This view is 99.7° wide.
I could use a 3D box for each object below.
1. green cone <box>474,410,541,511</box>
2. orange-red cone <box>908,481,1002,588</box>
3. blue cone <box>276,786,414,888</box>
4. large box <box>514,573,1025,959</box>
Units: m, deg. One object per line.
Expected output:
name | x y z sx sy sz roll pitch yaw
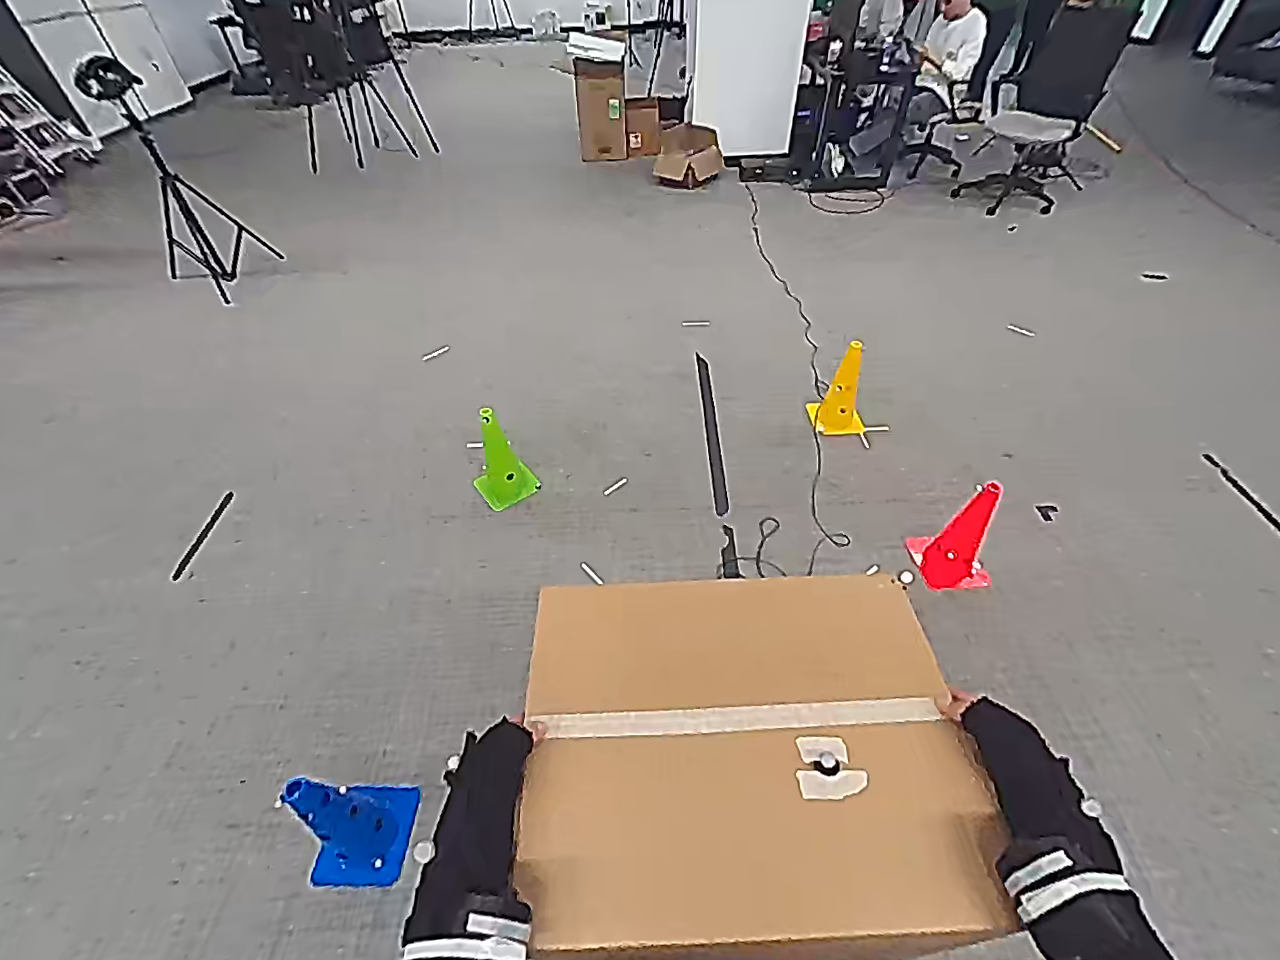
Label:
green cone | -0.508 -0.099 1.912 0.202 0.368 0.200 -32 52 -23
orange-red cone | 0.982 0.140 1.616 0.198 0.360 0.199 -3 44 -2
blue cone | -0.644 0.719 1.142 0.192 0.380 0.193 0 45 4
large box | 0.095 0.329 0.618 0.408 0.320 0.320 -2 45 -1
